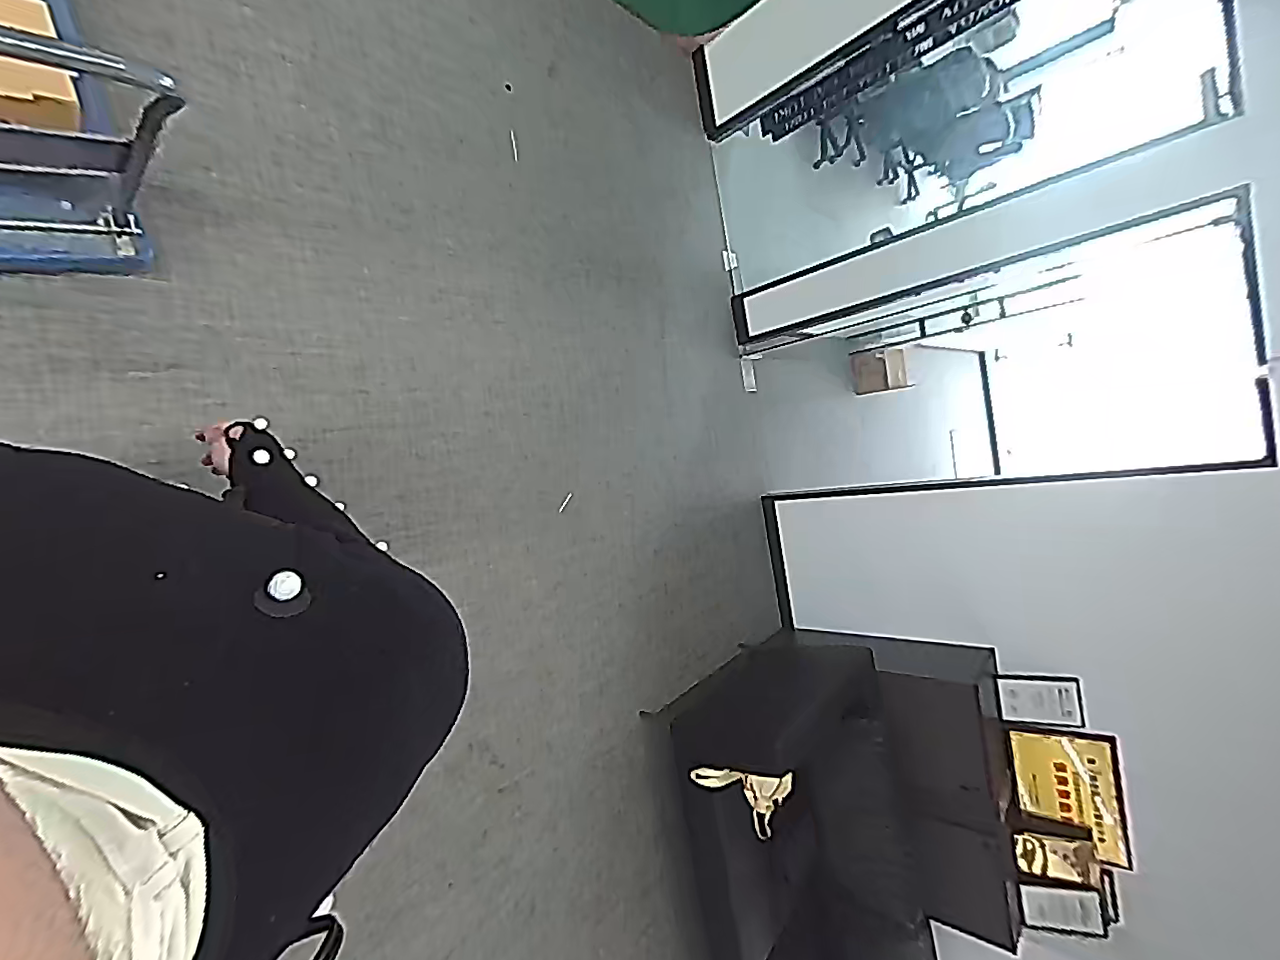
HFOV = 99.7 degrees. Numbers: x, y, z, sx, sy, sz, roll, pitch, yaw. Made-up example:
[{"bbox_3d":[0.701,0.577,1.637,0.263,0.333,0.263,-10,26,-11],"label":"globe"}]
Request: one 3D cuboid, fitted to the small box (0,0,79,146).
[{"bbox_3d":[-1.148,-0.740,0.964,0.168,0.176,0.179,-21,102,-47],"label":"small box"}]
